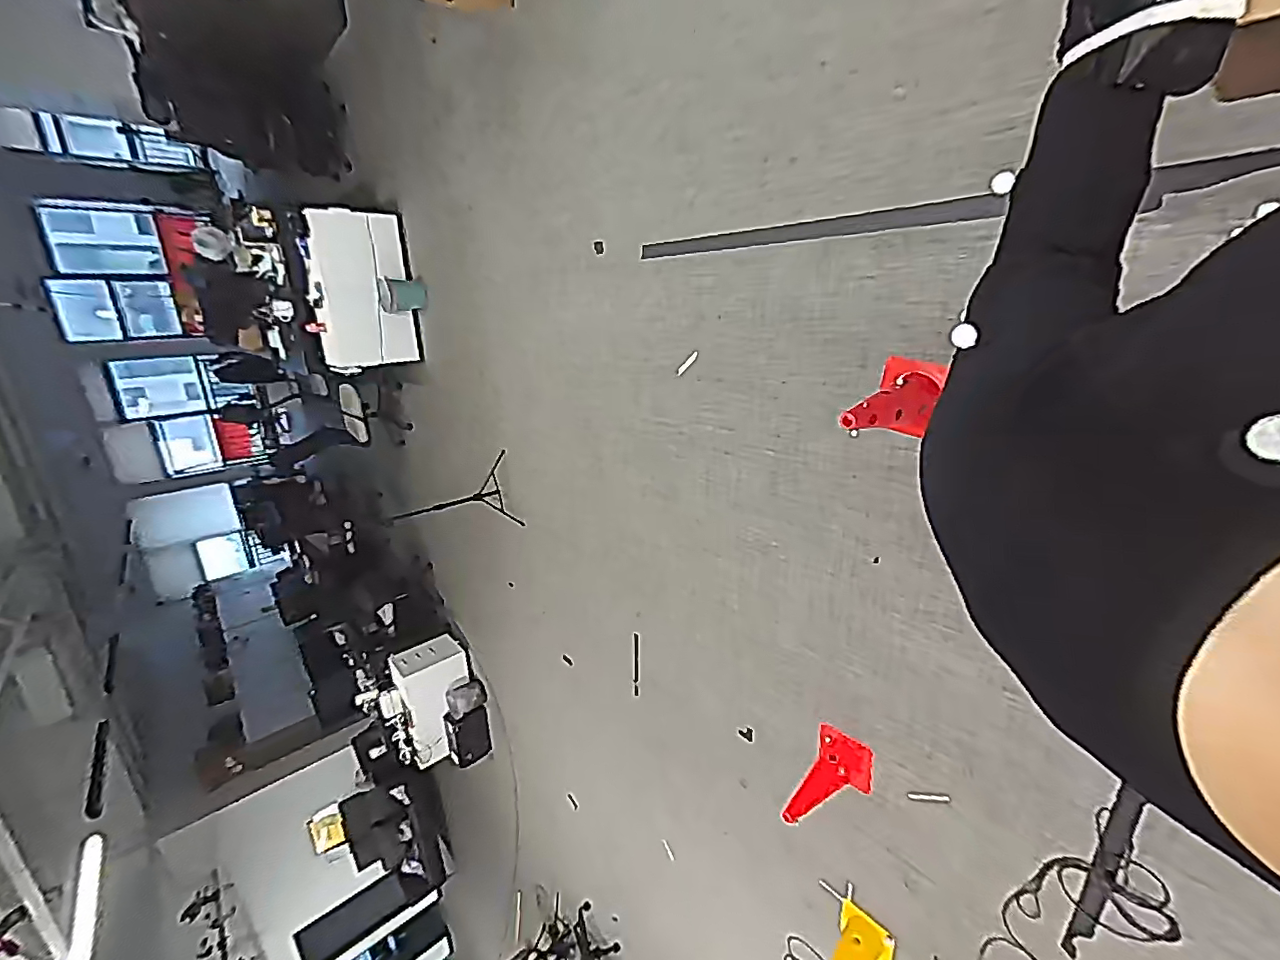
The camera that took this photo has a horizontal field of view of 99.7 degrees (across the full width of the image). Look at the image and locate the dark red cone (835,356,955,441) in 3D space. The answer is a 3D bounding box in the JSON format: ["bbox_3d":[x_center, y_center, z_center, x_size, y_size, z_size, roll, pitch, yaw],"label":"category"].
[{"bbox_3d":[0.594,-0.181,1.333,0.201,0.394,0.202,25,122,42],"label":"dark red cone"}]

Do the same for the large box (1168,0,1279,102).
[{"bbox_3d":[0.585,-0.444,0.267,0.408,0.320,0.320,18,120,46],"label":"large box"}]

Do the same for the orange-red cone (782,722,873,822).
[{"bbox_3d":[0.600,1.025,1.819,0.198,0.360,0.199,17,117,48],"label":"orange-red cone"}]
